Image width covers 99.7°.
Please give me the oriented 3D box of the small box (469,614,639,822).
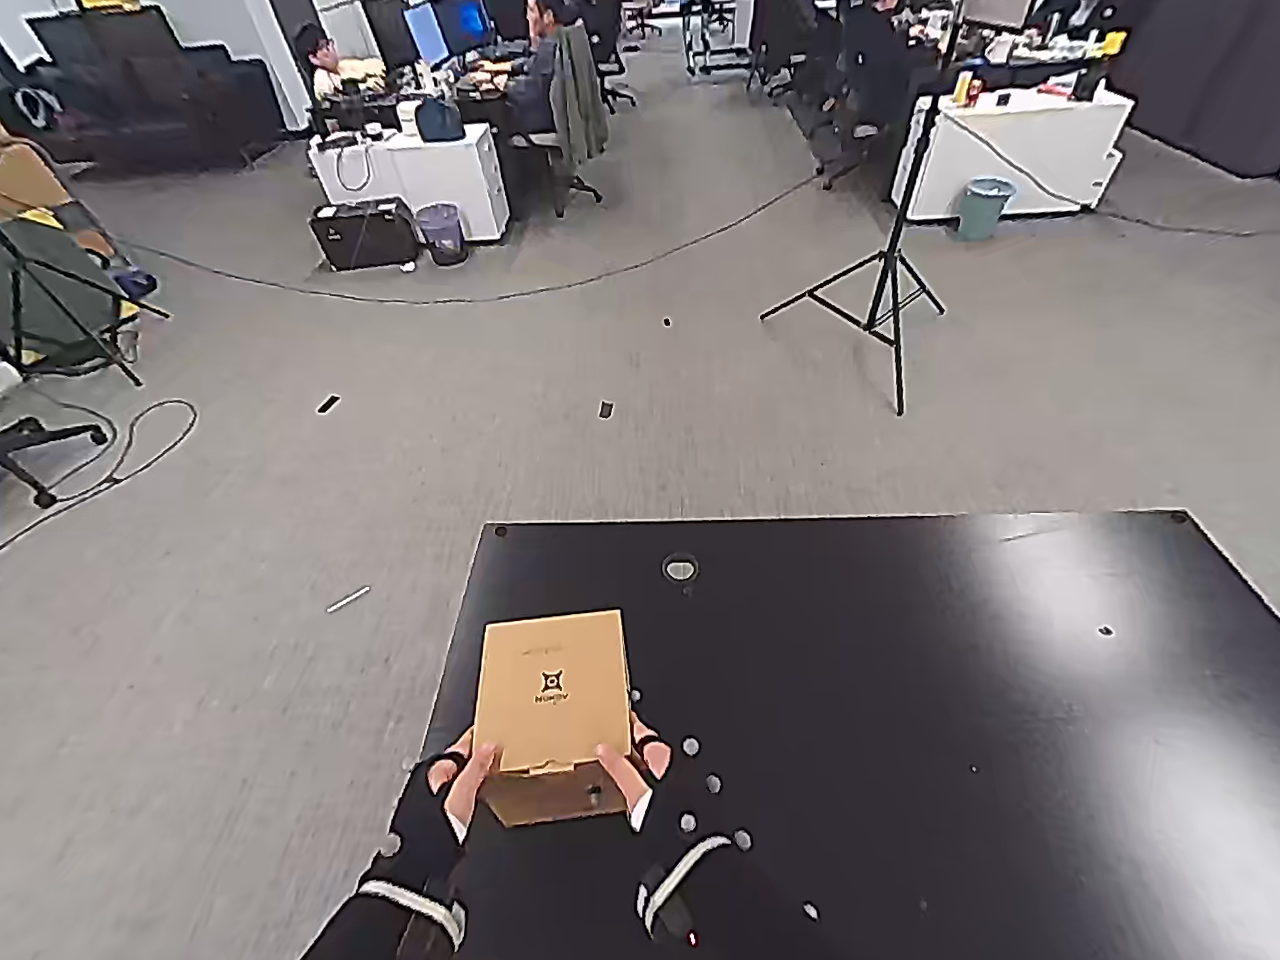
[{"bbox_3d":[-0.092,0.288,0.649,0.168,0.176,0.179,-6,42,-3],"label":"small box"}]
